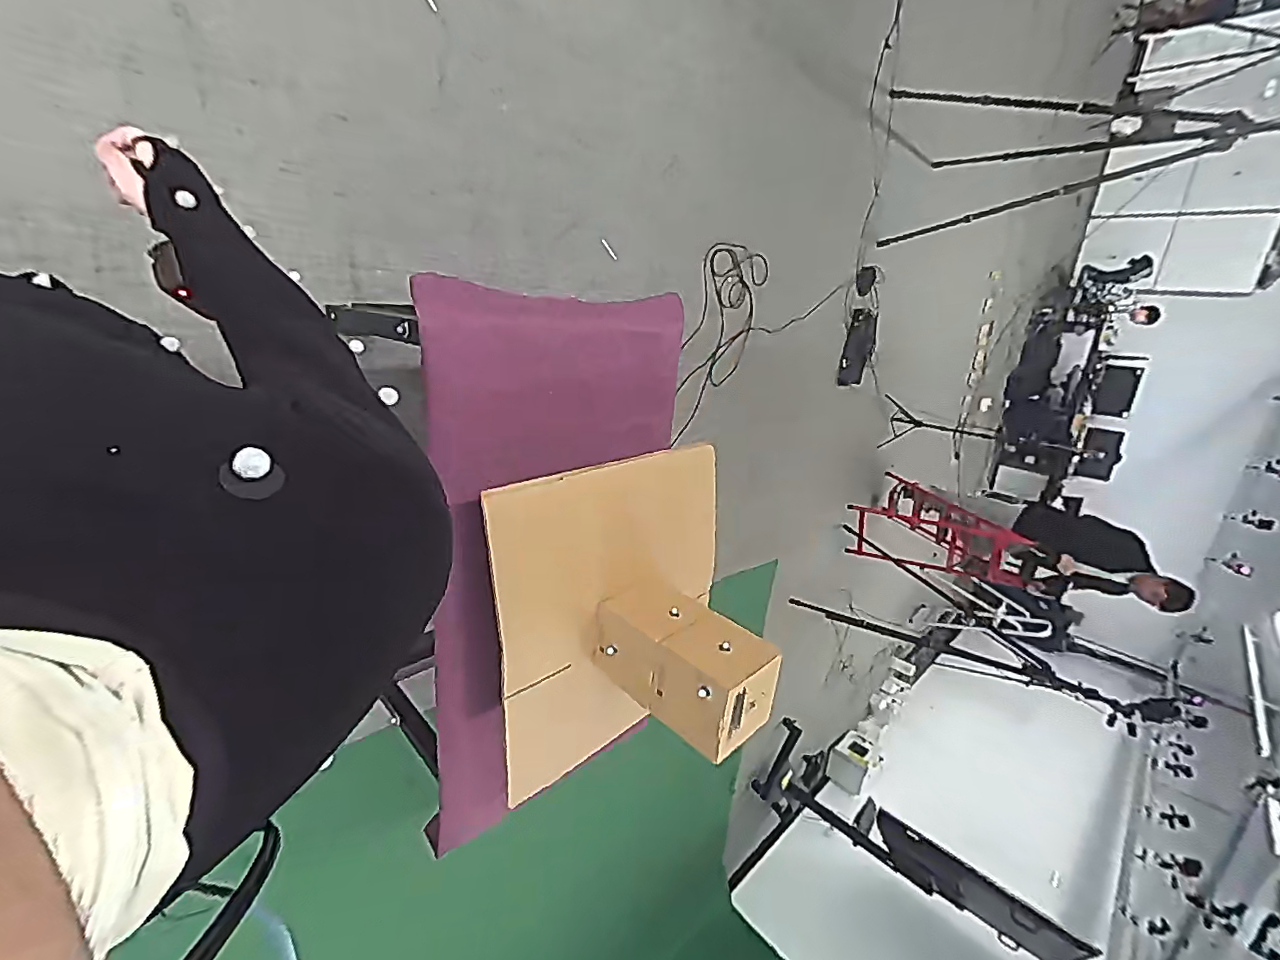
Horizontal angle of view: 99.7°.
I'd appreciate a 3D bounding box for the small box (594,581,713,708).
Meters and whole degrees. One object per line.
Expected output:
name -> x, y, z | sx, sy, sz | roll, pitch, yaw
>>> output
small box -> 0.027, 0.335, 1.146 | 0.179, 0.176, 0.168 | -14, 117, -42
